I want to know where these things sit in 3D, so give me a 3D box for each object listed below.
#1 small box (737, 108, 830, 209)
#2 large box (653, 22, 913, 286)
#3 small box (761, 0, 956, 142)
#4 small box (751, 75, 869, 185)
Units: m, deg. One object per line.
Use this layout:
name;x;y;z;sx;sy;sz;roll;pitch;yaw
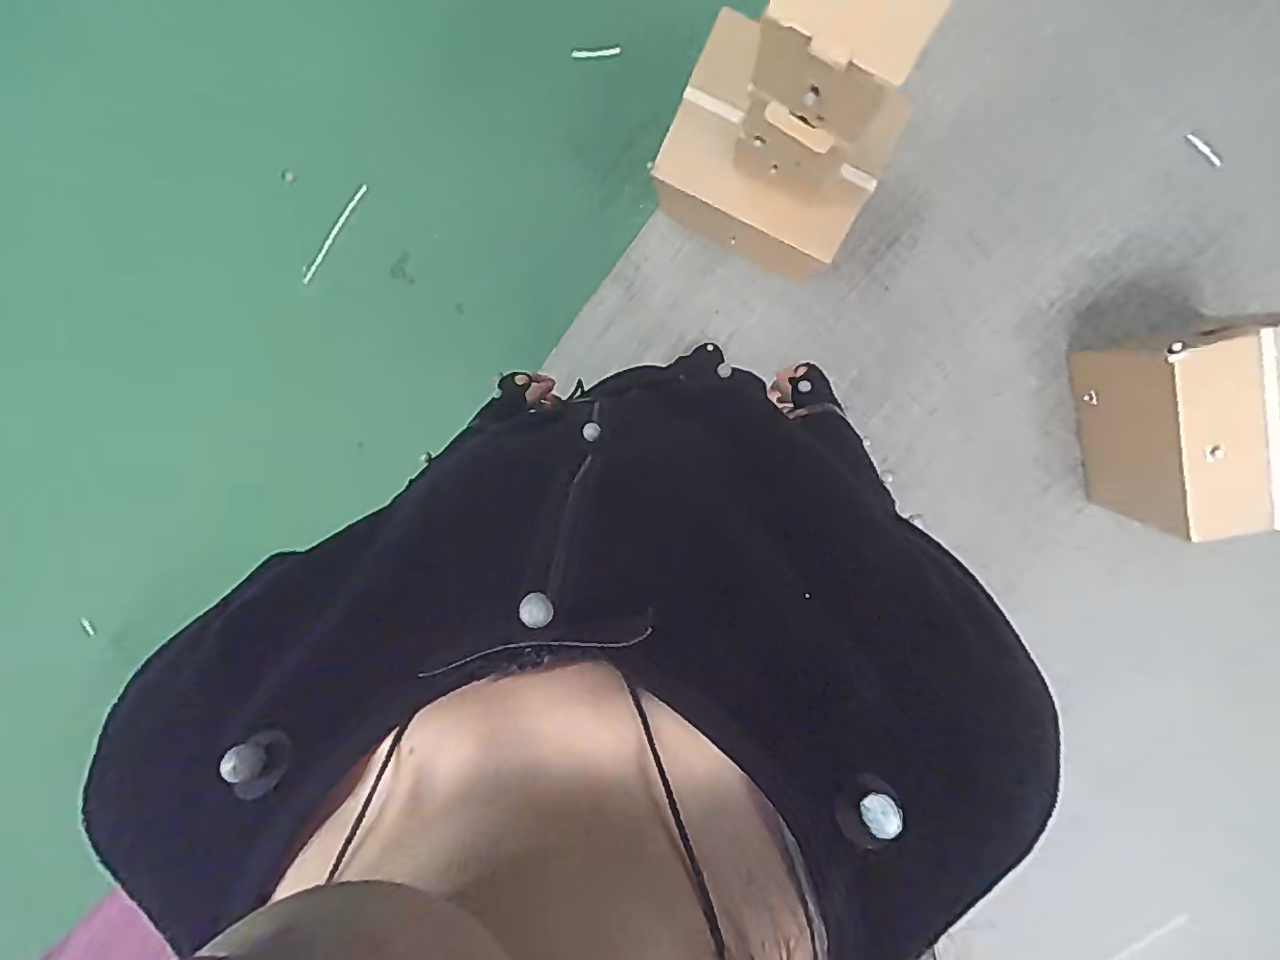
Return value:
small box;0.283;-0.603;0.943;0.179;0.176;0.168;30;105;-1
large box;0.286;-0.667;1.181;0.408;0.320;0.320;27;103;2
small box;0.254;-0.534;0.623;0.168;0.176;0.179;30;106;-1
small box;0.275;-0.566;0.783;0.168;0.176;0.179;32;105;-1
